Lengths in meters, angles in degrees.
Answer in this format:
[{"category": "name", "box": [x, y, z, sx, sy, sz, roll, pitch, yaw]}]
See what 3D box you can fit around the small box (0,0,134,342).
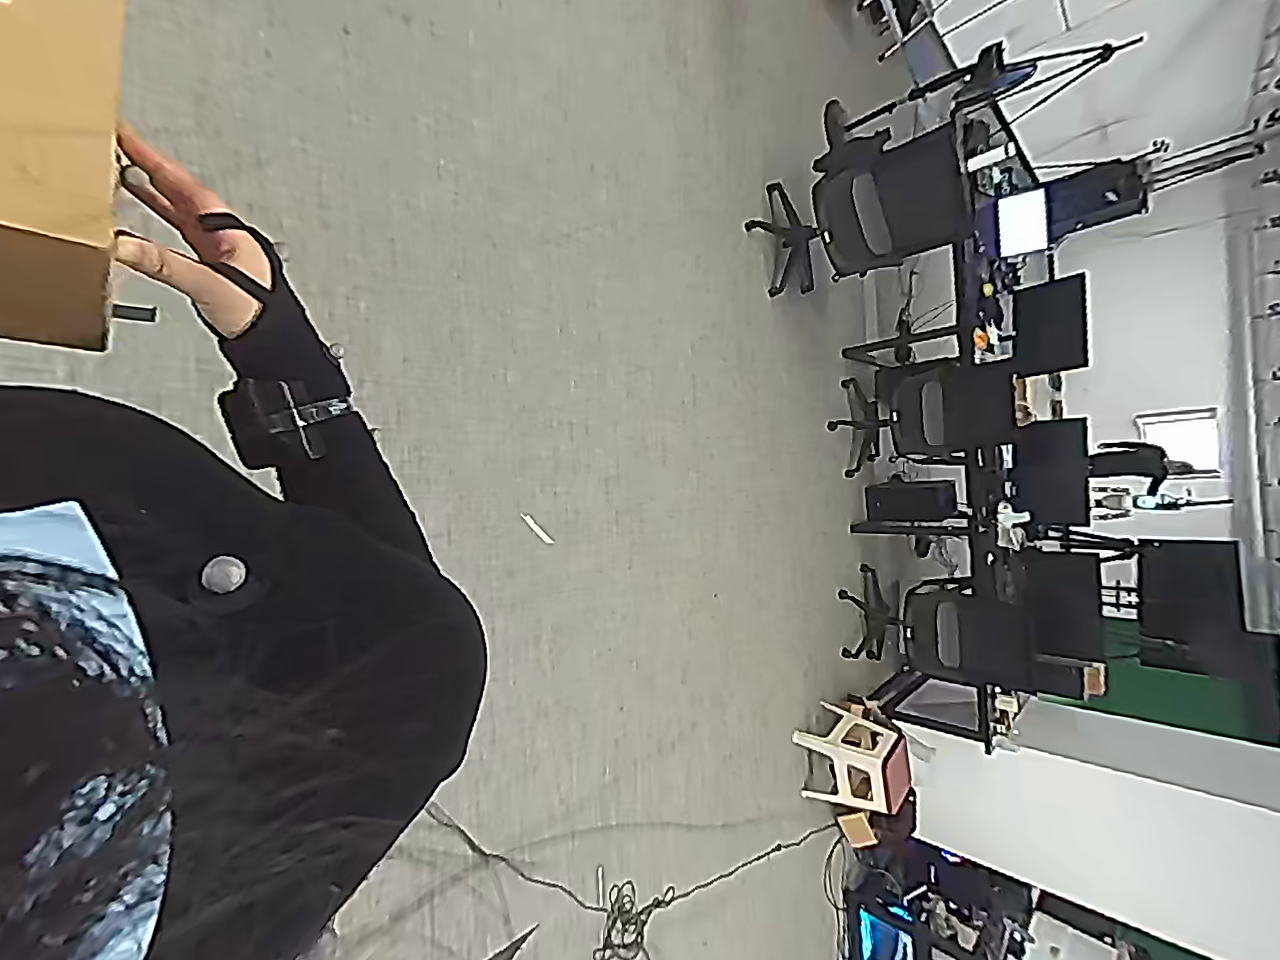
[{"category": "small box", "box": [-0.405, -0.198, 0.304, 0.168, 0.176, 0.179, 3, 77, -46]}]
